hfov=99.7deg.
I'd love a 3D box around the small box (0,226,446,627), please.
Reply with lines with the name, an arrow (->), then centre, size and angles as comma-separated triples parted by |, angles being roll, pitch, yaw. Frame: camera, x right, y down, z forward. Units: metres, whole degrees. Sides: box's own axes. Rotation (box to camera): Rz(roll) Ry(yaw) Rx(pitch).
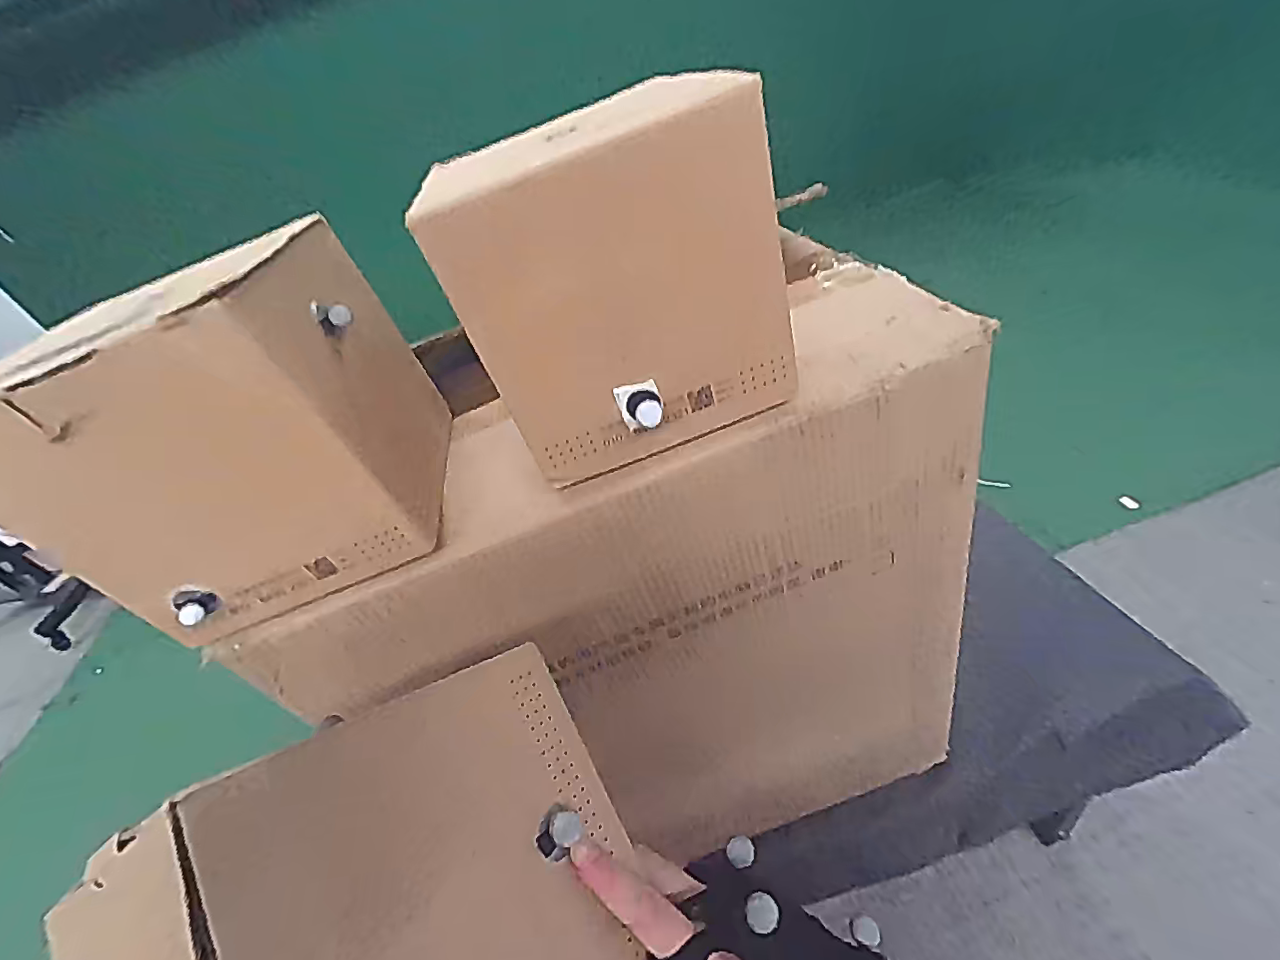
small box -> -0.244, -0.031, 0.347 | 0.168, 0.176, 0.179 | -22, 37, 2

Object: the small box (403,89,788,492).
small box -> -0.023, -0.123, 0.349 | 0.168, 0.176, 0.179 | -23, 39, 0
